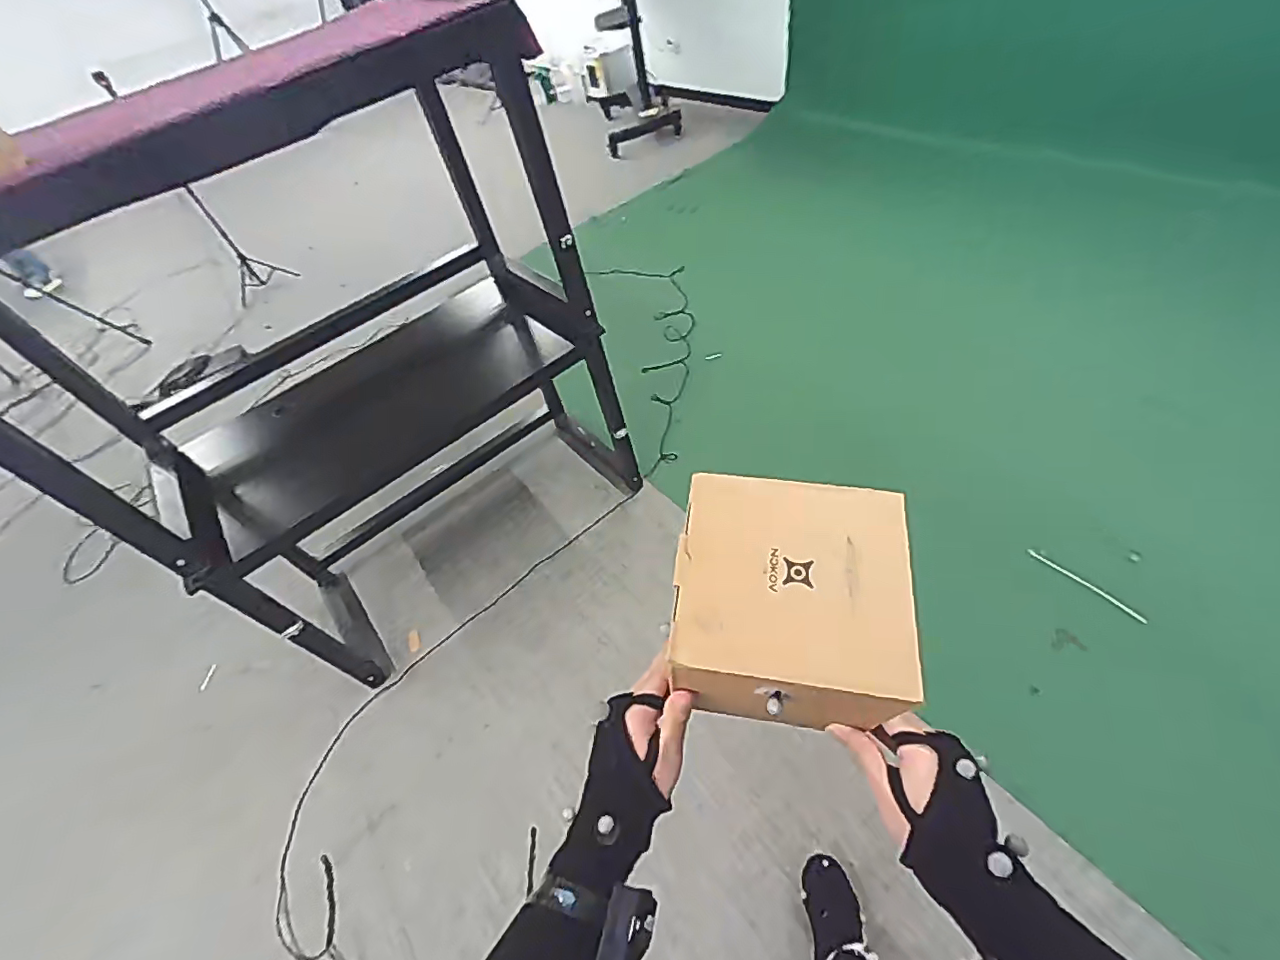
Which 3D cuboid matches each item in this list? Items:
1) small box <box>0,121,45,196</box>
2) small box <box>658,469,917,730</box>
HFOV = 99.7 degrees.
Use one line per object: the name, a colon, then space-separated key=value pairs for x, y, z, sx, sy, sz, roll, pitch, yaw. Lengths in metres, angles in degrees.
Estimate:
small box: x=-1.045 y=-0.496 z=0.784 sx=0.179 sy=0.176 sz=0.168 roll=-38 pitch=51 yaw=-18
small box: x=0.119 y=0.110 z=0.475 sx=0.179 sy=0.176 sz=0.168 roll=6 pitch=58 yaw=10
